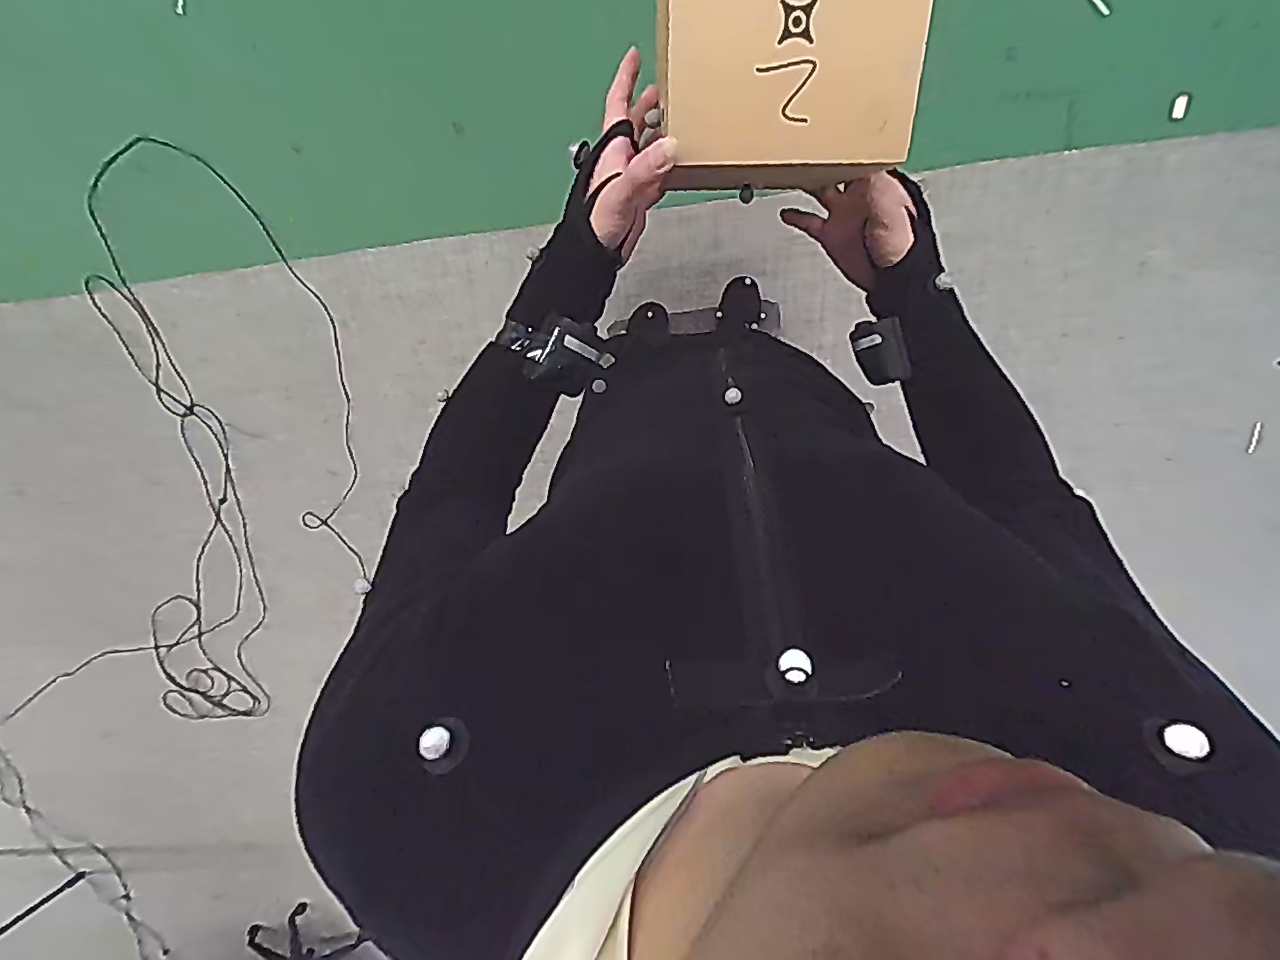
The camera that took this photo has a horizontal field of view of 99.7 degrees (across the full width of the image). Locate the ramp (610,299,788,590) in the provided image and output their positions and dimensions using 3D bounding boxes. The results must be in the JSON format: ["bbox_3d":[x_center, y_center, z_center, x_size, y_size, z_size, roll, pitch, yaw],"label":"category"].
[{"bbox_3d":[0.227,-0.042,1.743,0.509,0.206,0.991,-8,110,6],"label":"ramp"}]
